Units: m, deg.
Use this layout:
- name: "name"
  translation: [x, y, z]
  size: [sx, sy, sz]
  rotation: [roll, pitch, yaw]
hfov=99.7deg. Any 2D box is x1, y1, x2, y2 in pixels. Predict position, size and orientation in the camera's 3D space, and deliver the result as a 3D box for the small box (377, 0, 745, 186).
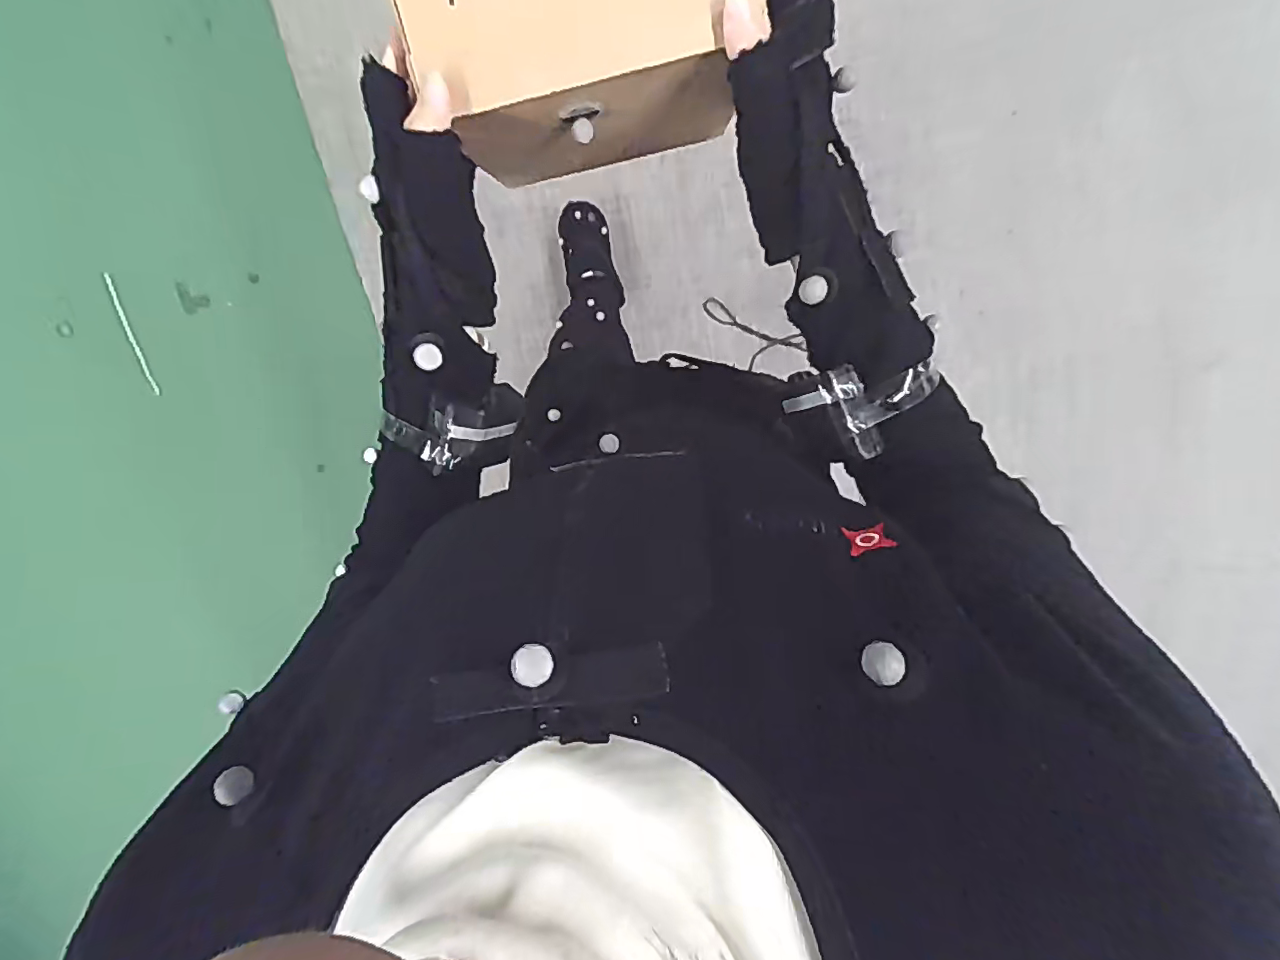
- name: "small box"
  translation: [-0.044, -0.295, 0.322]
  size: [0.179, 0.176, 0.168]
  rotation: [-10, 107, 5]
